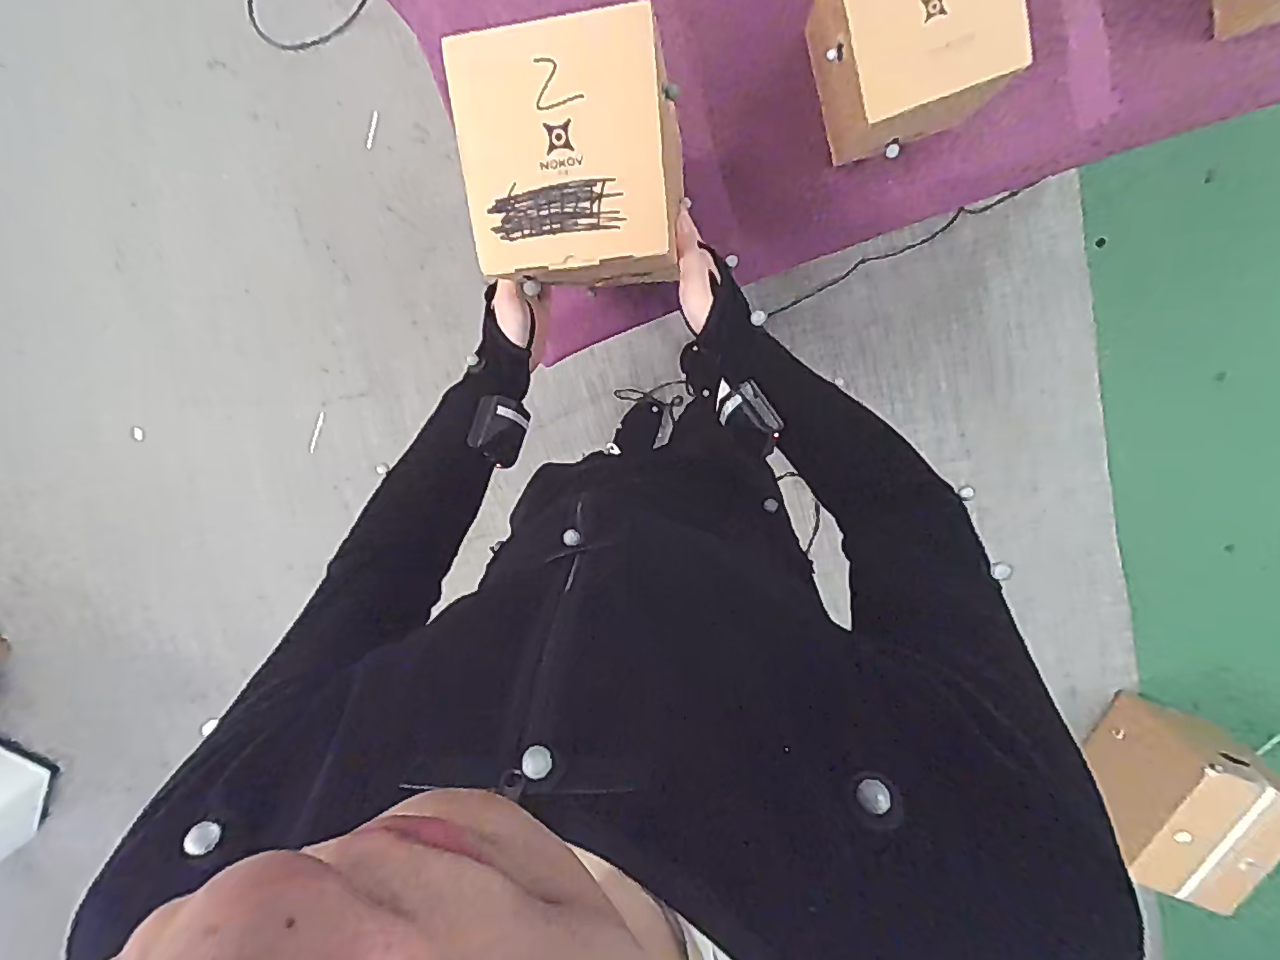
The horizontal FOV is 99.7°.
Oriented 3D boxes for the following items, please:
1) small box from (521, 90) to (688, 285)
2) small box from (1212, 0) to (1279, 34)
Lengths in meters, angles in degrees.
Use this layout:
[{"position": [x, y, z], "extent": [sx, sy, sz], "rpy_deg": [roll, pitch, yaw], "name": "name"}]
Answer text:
[{"position": [-0.029, -0.334, 0.656], "extent": [0.168, 0.176, 0.179], "rpy_deg": [-2, 107, 8], "name": "small box"}, {"position": [0.738, -0.617, 0.547], "extent": [0.168, 0.176, 0.179], "rpy_deg": [-15, 101, 11], "name": "small box"}]
